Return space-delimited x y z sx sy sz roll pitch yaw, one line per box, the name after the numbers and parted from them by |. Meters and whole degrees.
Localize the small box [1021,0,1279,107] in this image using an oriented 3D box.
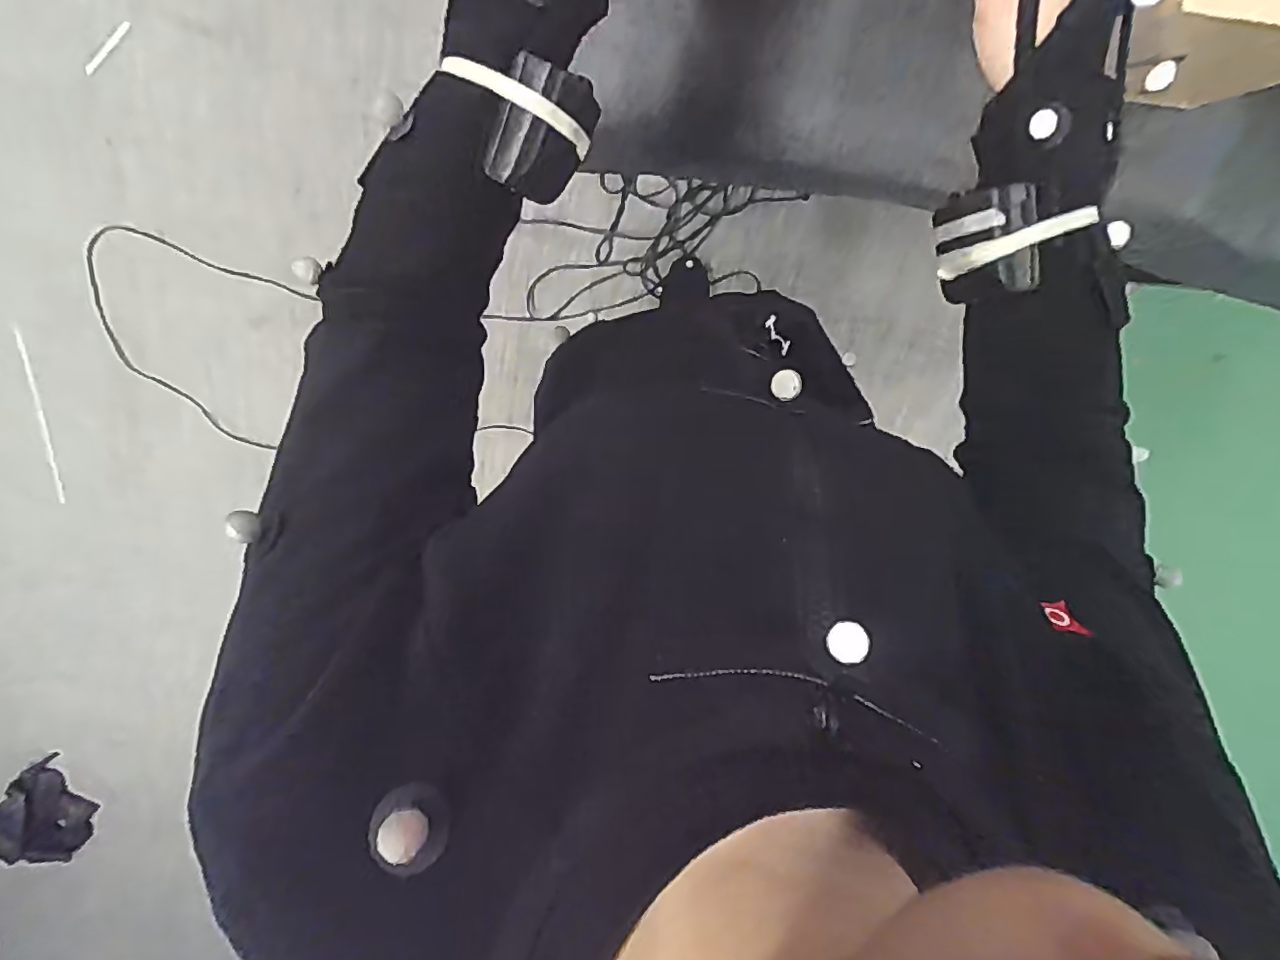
0.411 -0.383 0.372 0.168 0.176 0.179 6 112 -2 | small box
